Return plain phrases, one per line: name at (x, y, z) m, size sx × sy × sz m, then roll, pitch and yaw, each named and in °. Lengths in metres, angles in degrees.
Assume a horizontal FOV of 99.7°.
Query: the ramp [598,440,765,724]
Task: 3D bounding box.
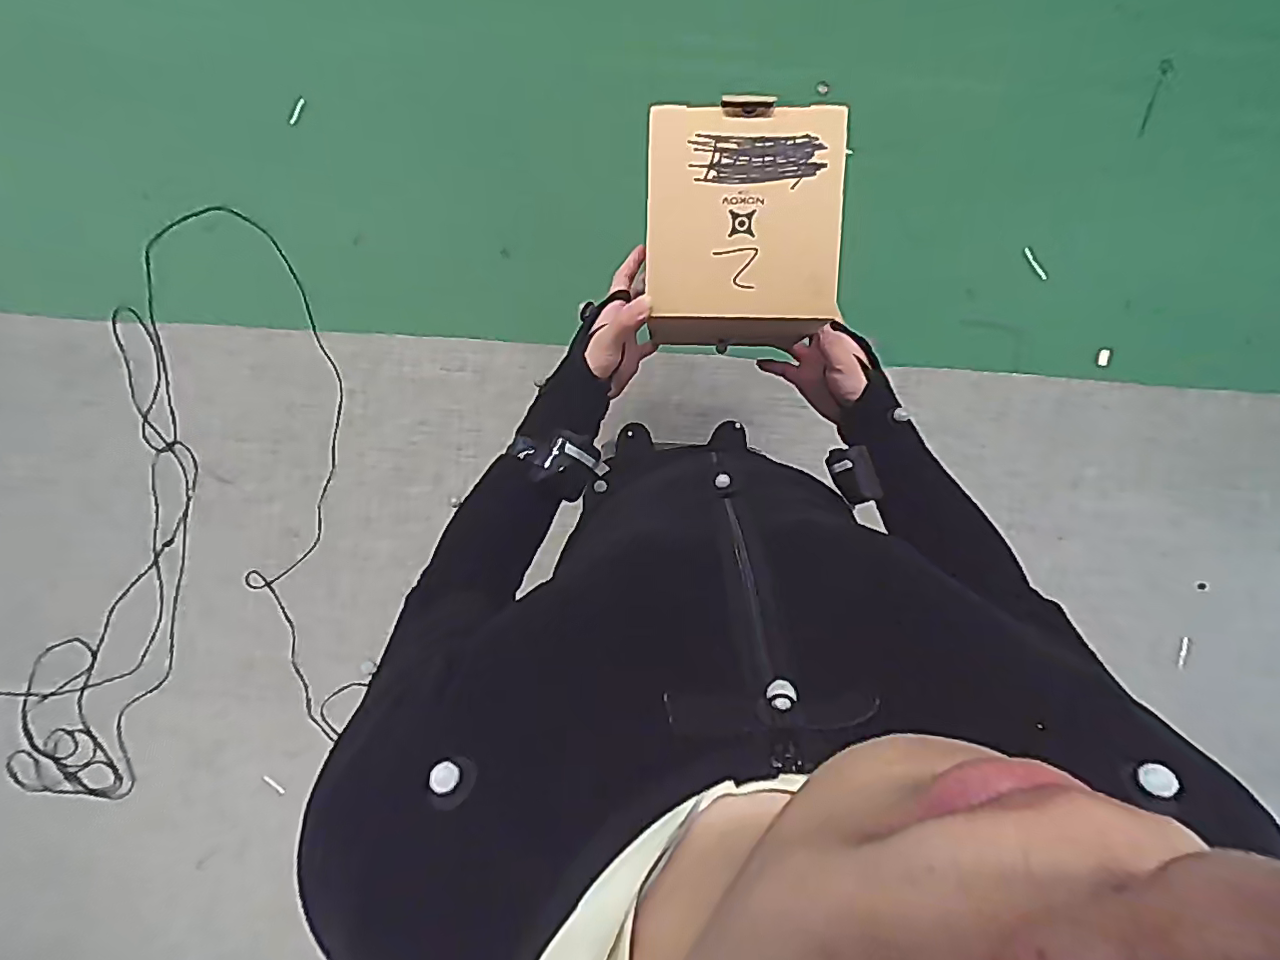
ramp at (0.115, 0.368, 1.755) m, size 0.509 × 0.206 × 0.991 m, roll 1°, pitch 97°, yaw 1°
